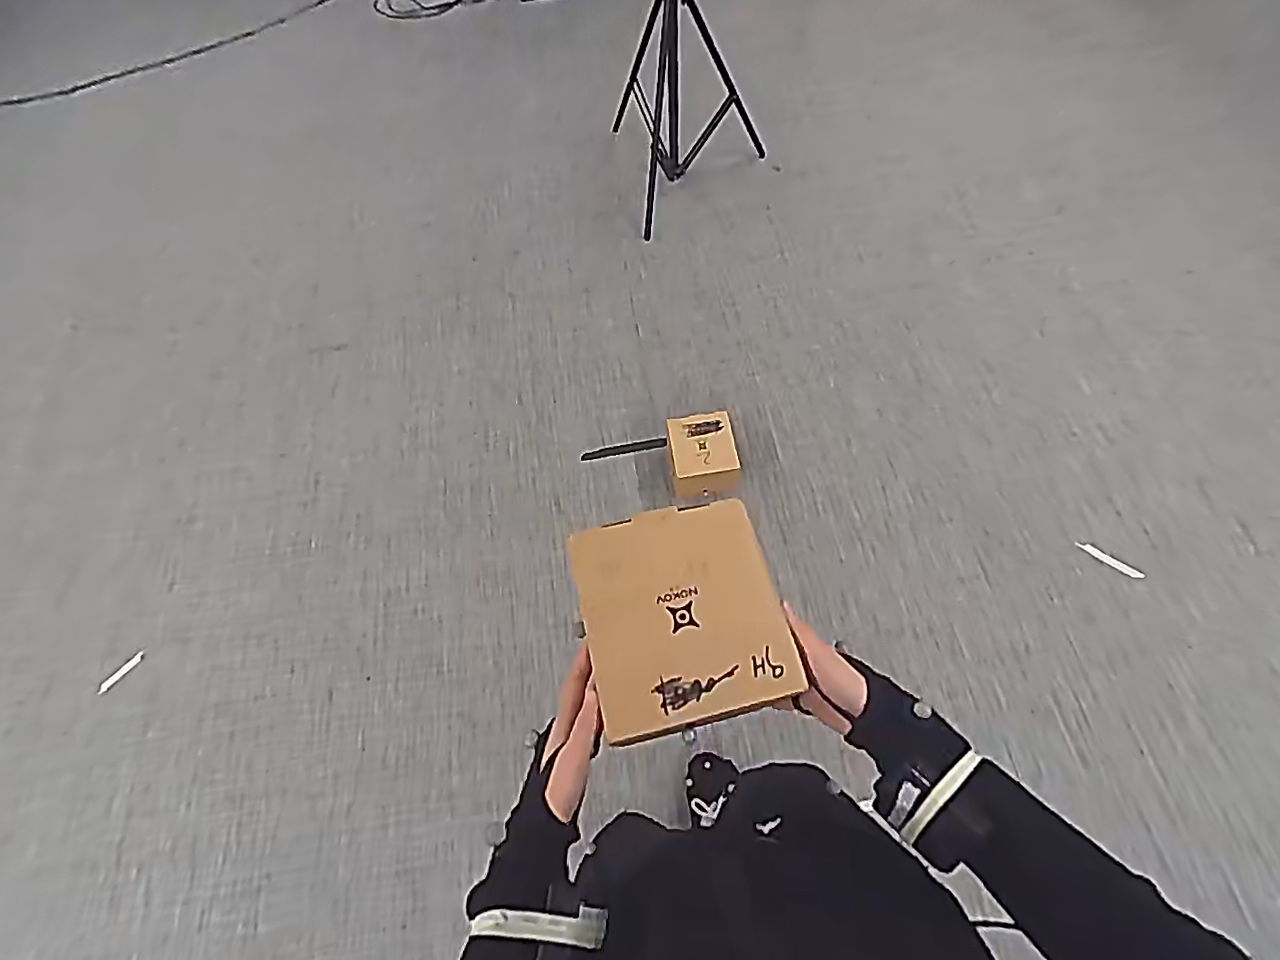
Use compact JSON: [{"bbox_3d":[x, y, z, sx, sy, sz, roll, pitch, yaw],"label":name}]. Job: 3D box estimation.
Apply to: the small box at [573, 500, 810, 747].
[{"bbox_3d":[0.034,0.144,0.521,0.168,0.176,0.179,-11,64,-7],"label":"small box"}]
